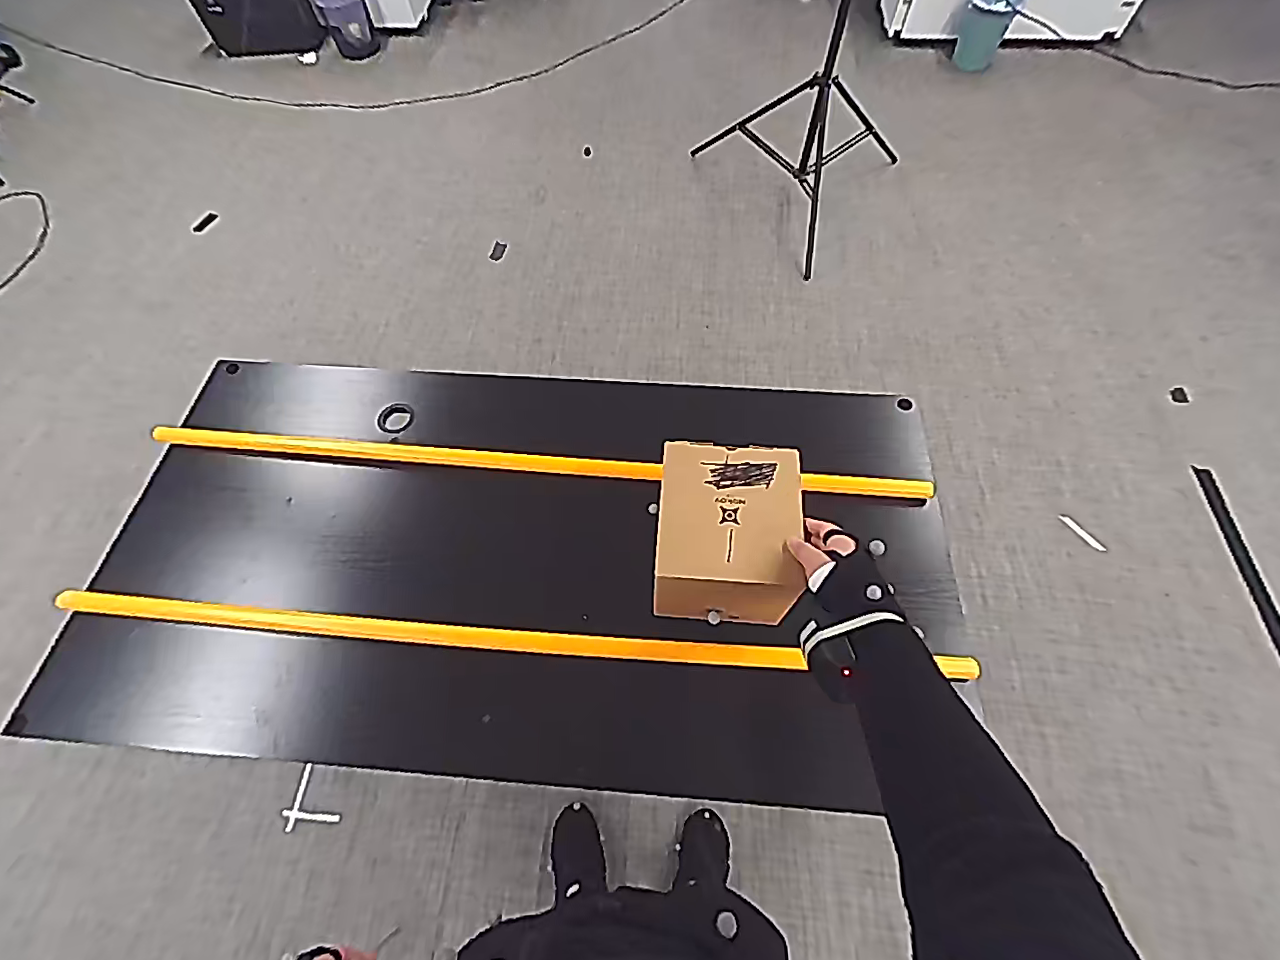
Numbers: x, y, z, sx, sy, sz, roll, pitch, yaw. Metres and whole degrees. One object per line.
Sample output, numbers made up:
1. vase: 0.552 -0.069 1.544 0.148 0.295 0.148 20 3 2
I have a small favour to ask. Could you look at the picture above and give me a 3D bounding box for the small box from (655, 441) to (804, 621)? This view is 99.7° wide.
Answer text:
1. small box: 0.107 0.070 0.701 0.168 0.176 0.179 4 62 4
